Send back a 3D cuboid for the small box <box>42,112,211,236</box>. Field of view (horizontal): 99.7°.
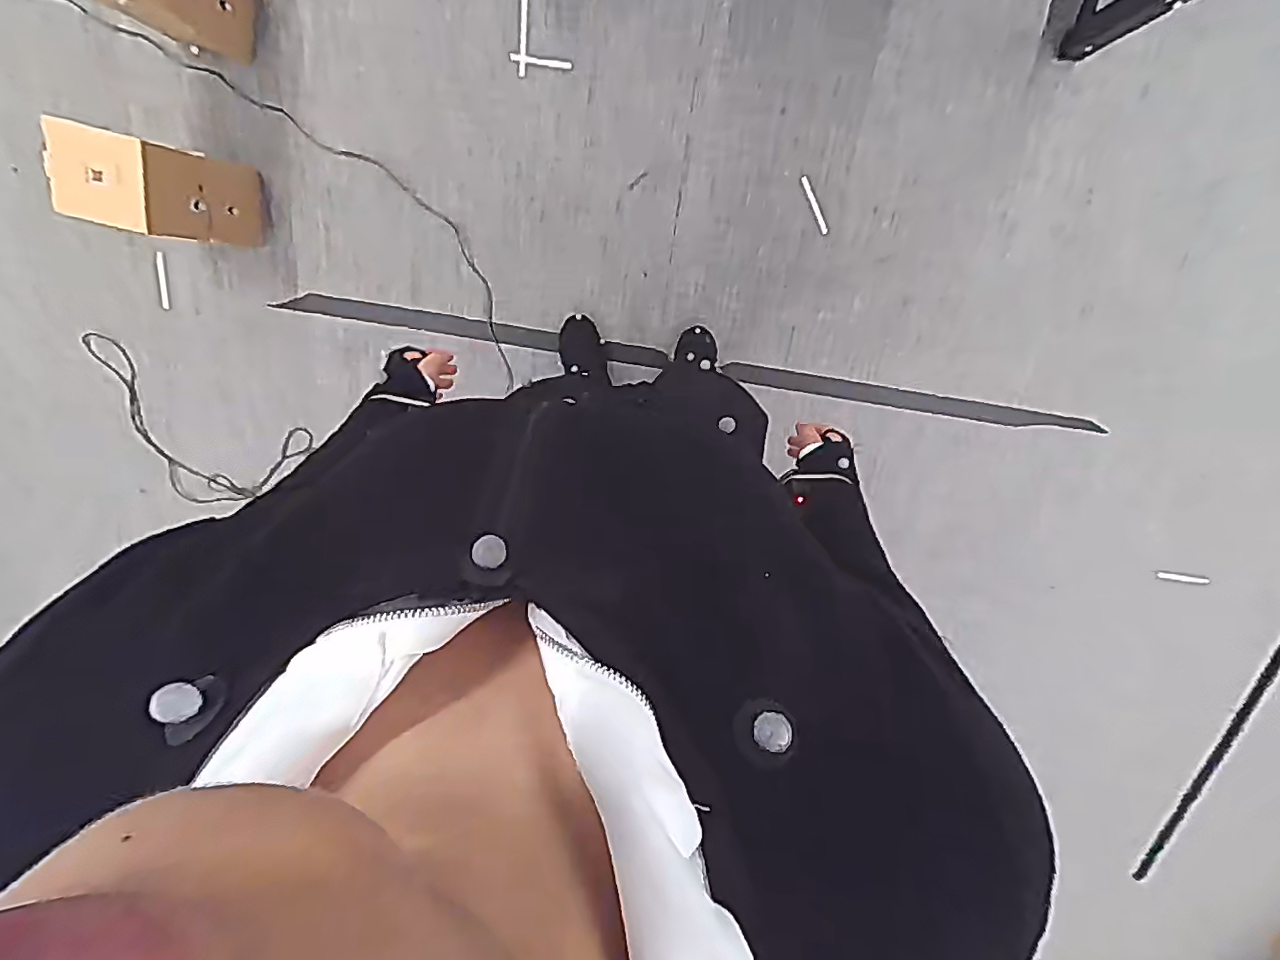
[{"bbox_3d":[-1.002,-0.593,1.072,0.179,0.176,0.168,12,110,-5],"label":"small box"}]

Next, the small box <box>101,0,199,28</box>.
[{"bbox_3d":[-0.915,-0.941,0.948,0.179,0.176,0.168,13,107,-4],"label":"small box"}]

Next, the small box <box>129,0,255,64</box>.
[{"bbox_3d":[-0.923,-1.001,1.101,0.168,0.176,0.179,16,109,-5],"label":"small box"}]

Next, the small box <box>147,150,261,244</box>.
[{"bbox_3d":[-0.998,-0.642,1.228,0.168,0.176,0.179,8,110,-2],"label":"small box"}]
